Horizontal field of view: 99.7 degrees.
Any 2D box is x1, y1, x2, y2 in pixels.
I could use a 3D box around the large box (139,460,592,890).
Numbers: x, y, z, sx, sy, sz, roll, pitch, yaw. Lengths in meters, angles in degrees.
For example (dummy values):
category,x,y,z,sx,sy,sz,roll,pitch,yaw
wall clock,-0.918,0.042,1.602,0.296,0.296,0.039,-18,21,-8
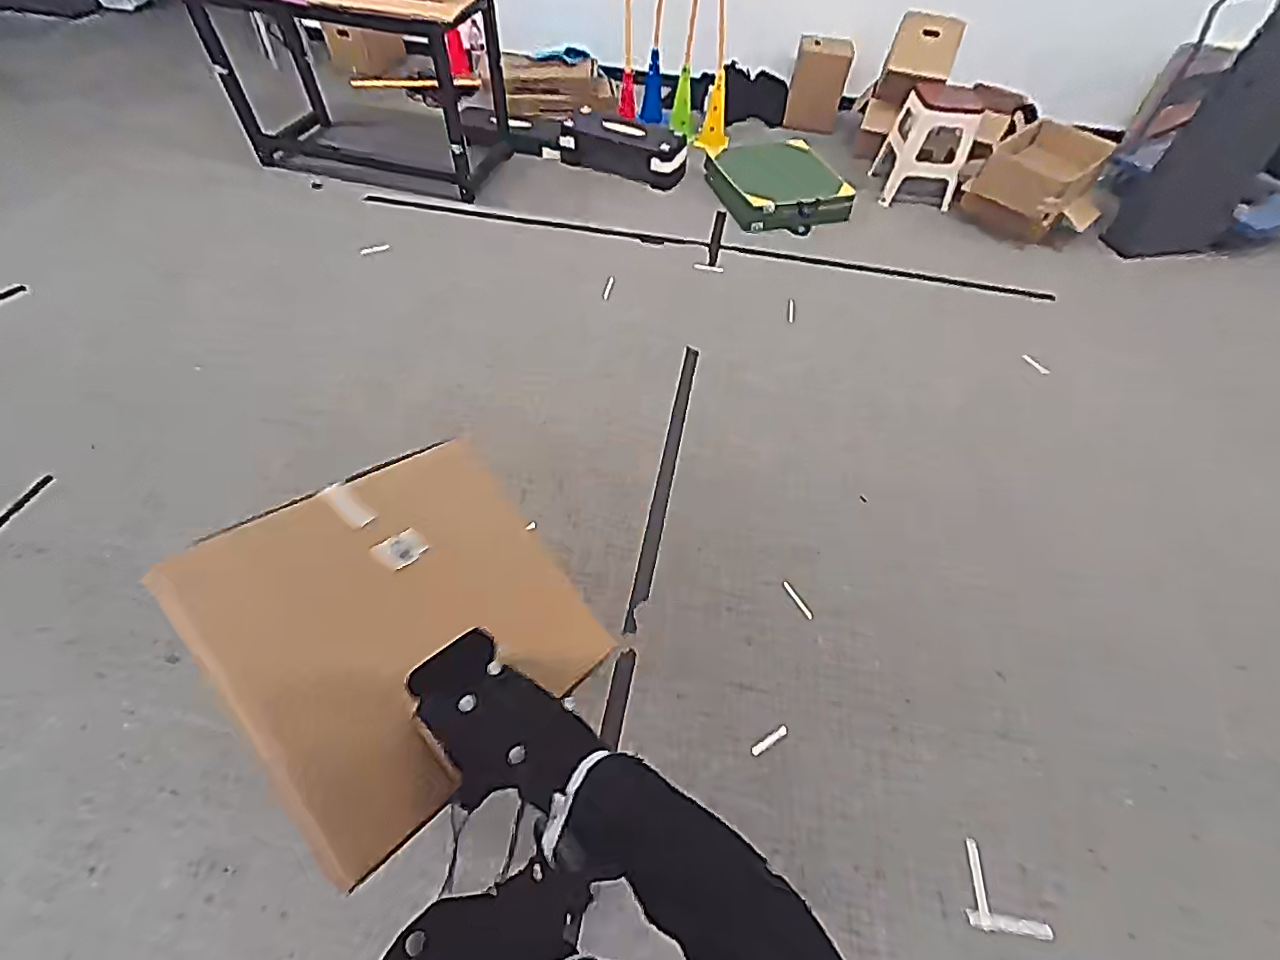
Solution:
category,x,y,z,sx,sy,sz,roll,pitch,yaw
large box,-0.332,0.240,0.682,0.320,0.408,0.320,51,46,6
